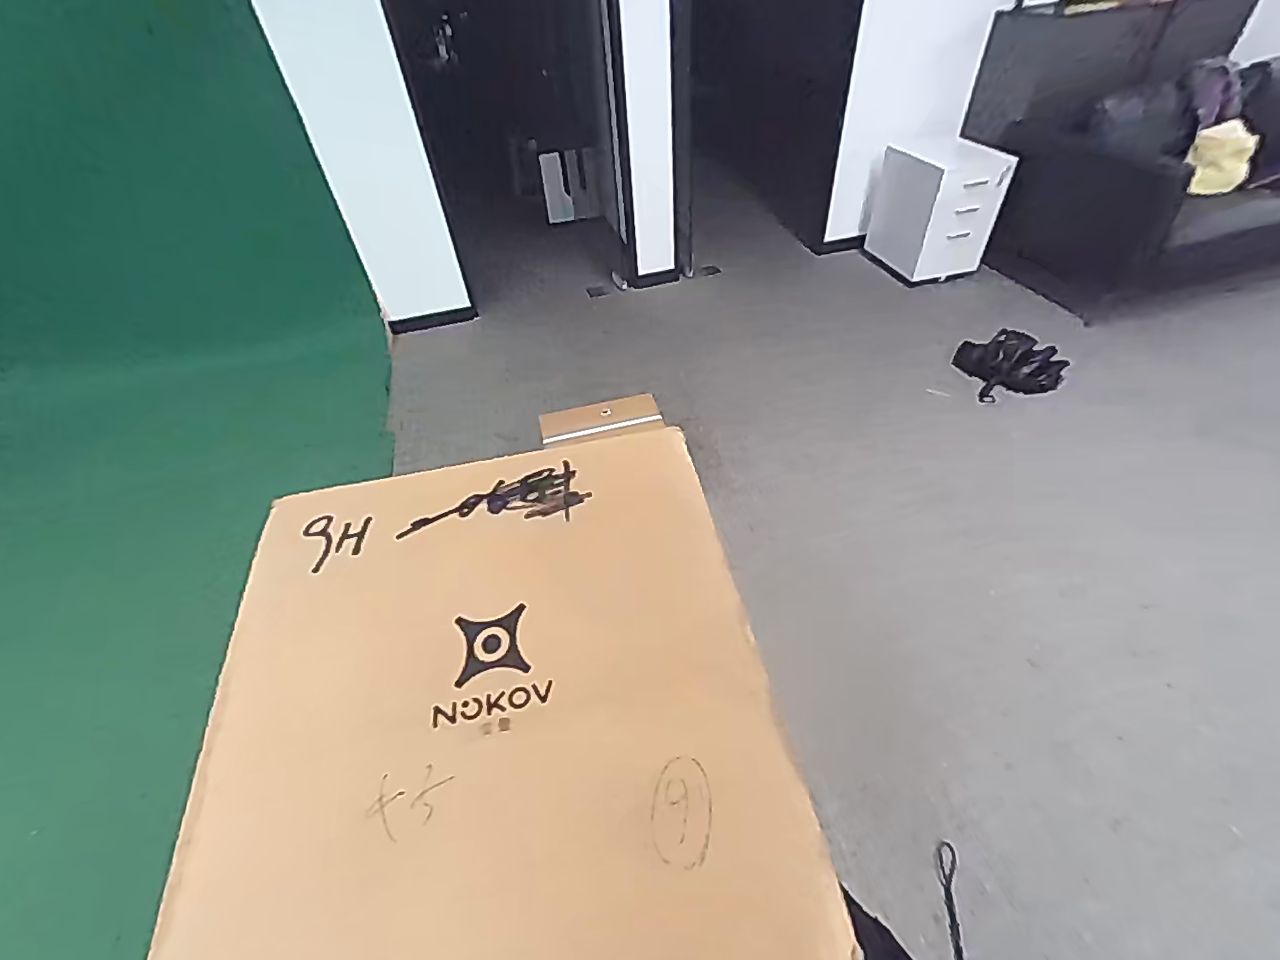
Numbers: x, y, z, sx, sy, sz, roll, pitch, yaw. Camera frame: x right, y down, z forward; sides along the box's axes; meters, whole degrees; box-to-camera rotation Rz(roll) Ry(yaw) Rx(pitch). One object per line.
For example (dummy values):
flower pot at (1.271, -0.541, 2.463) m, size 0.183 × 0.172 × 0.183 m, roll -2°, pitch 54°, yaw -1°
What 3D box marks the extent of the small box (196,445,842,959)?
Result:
small box at (-0.040, 0.114, 0.240) m, size 0.168 × 0.176 × 0.179 m, roll -11°, pitch 54°, yaw -5°
